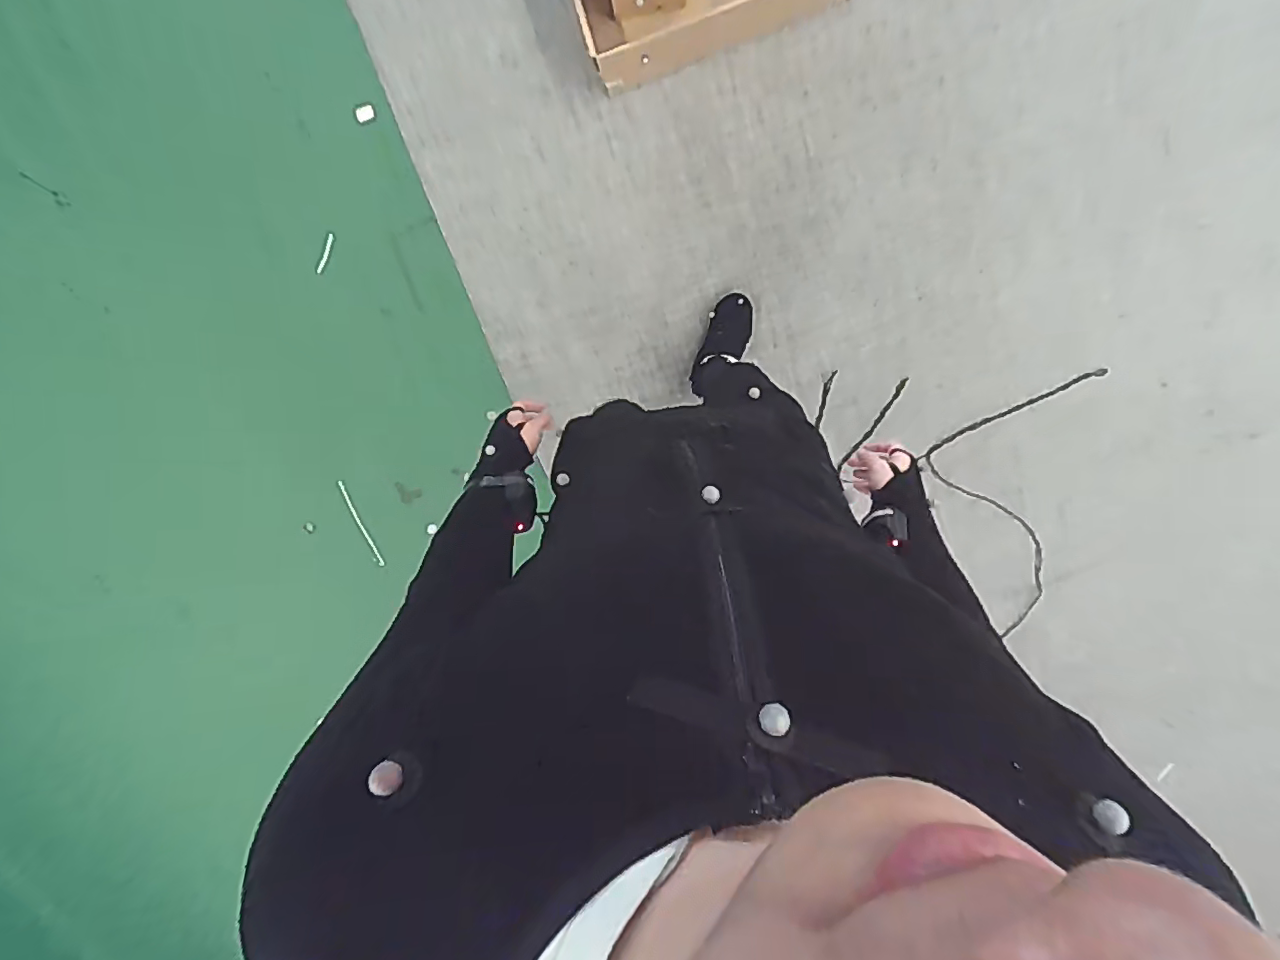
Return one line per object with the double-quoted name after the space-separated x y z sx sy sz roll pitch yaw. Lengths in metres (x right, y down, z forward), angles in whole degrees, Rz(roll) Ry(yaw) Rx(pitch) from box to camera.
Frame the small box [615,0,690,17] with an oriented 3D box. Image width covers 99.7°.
0.020 -1.109 1.128 0.168 0.176 0.179 -5 107 5 "small box"
